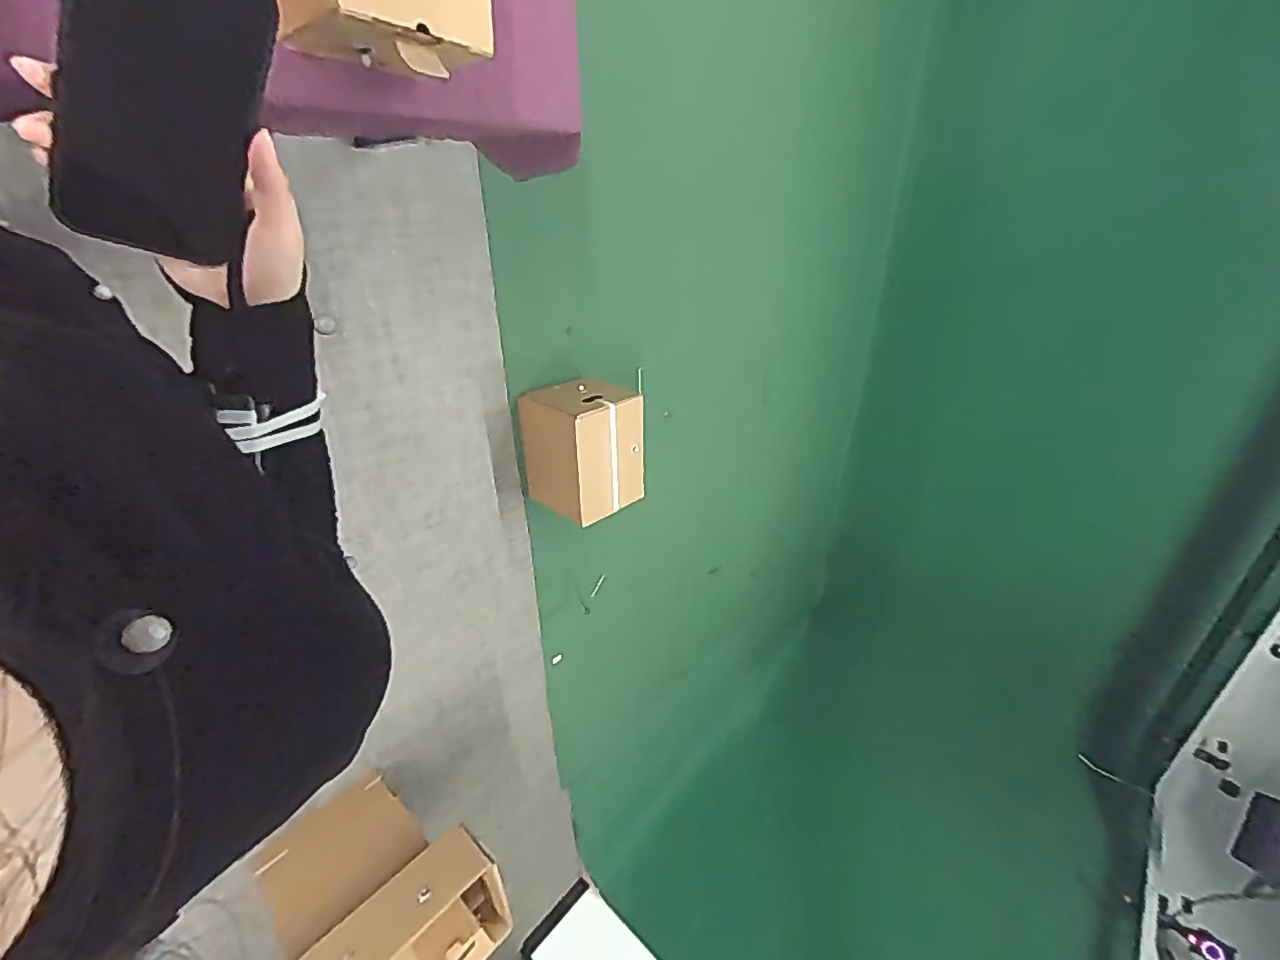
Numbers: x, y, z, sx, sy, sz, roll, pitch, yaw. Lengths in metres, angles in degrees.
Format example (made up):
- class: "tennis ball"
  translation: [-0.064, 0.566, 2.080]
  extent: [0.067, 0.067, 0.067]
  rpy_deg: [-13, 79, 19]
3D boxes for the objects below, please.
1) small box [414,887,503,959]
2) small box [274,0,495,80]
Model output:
- class: "small box"
  translation: [-0.539, 1.361, 1.602]
  extent: [0.168, 0.176, 0.179]
  rpy_deg: [-35, 133, -34]
- class: "small box"
  translation: [-0.271, -0.544, 0.556]
  extent: [0.168, 0.176, 0.179]
  rpy_deg: [-22, 124, -43]
